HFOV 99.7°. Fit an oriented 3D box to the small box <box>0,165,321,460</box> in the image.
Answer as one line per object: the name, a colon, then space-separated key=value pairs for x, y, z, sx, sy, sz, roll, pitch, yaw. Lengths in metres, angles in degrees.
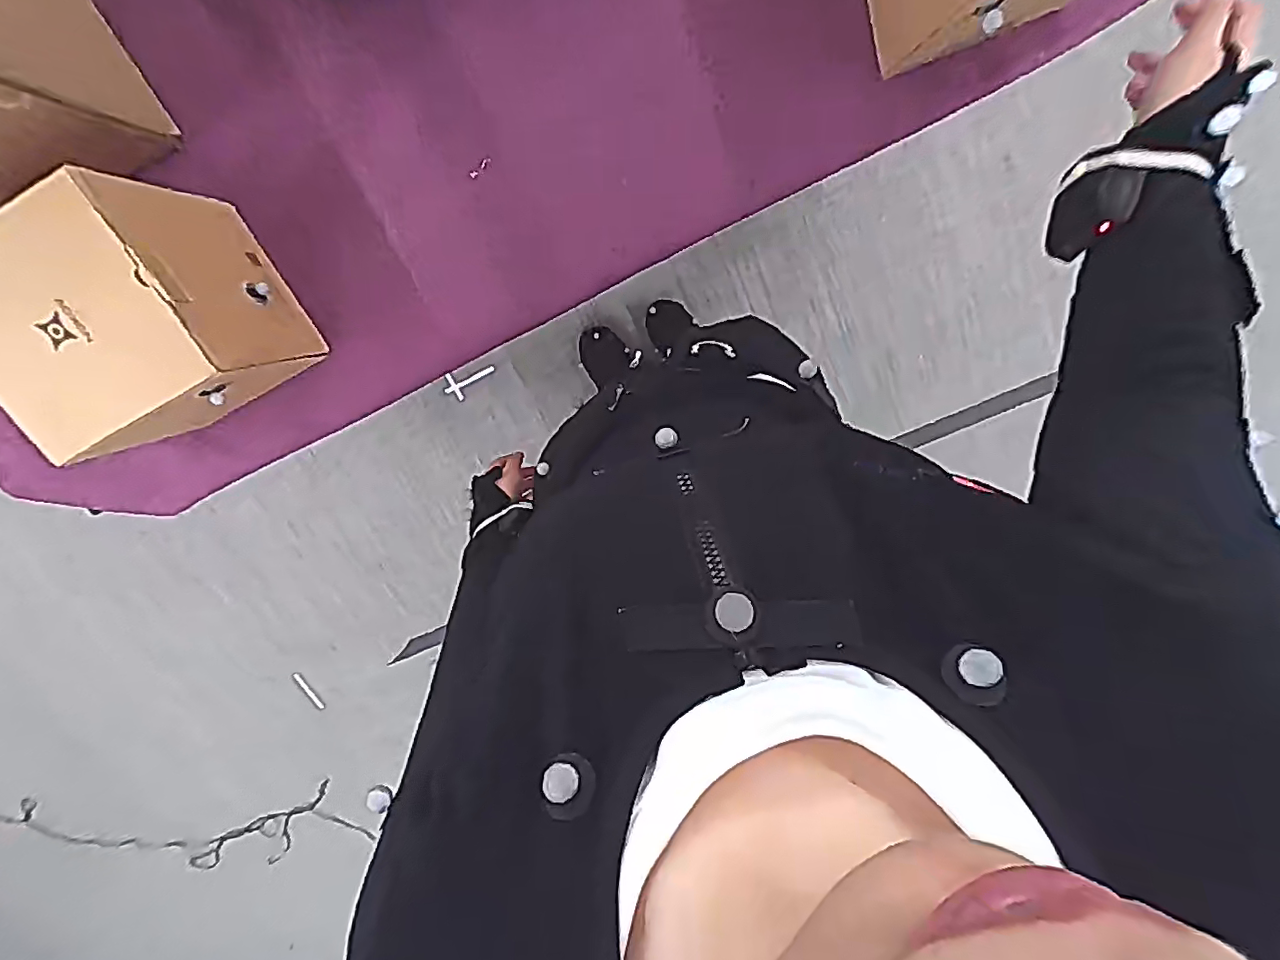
small box: x=-0.446 y=-0.144 z=0.495 sx=0.179 sy=0.176 sz=0.168 roll=-27 pitch=106 yaw=7
